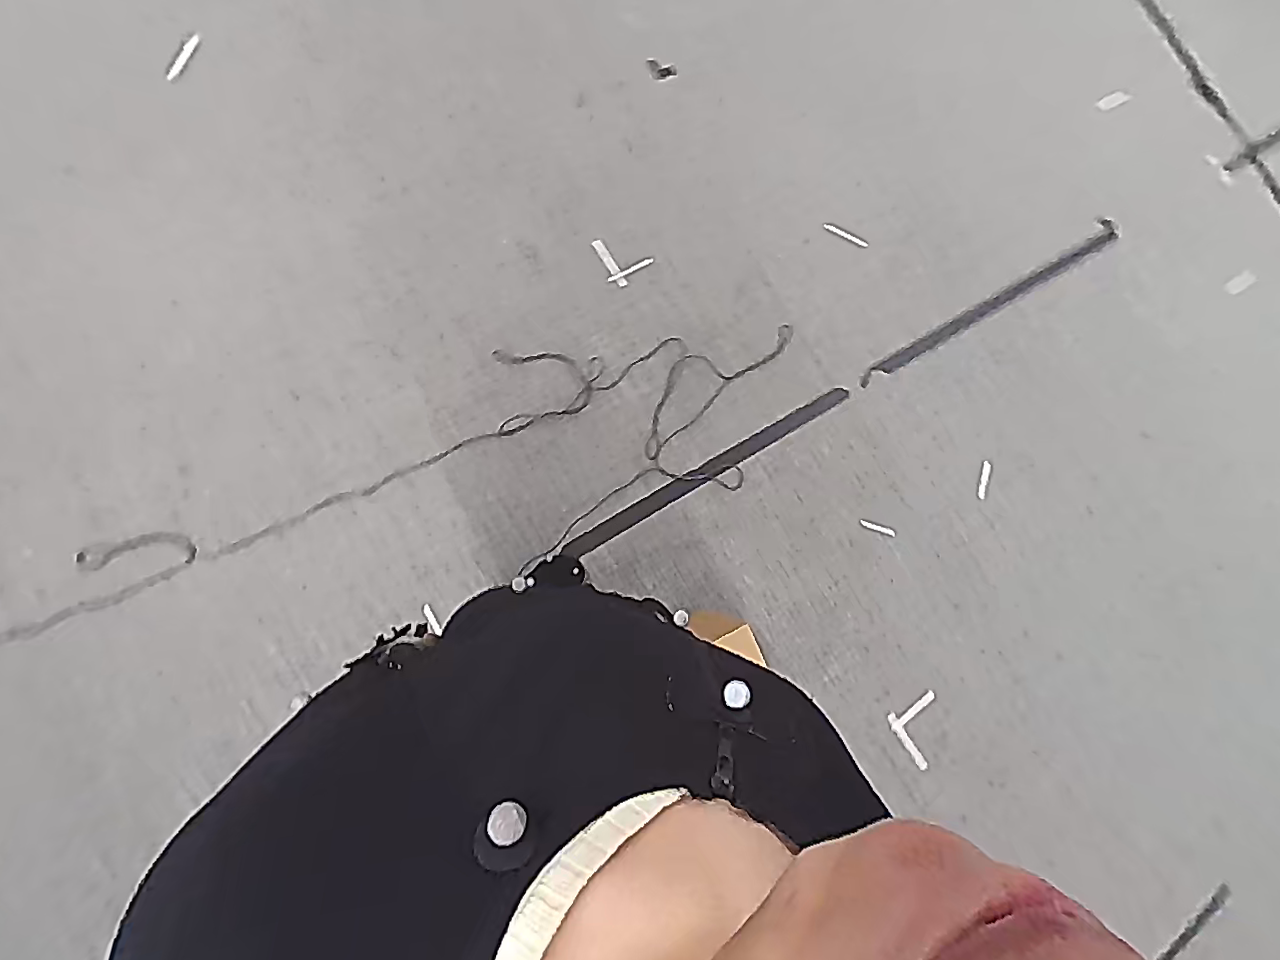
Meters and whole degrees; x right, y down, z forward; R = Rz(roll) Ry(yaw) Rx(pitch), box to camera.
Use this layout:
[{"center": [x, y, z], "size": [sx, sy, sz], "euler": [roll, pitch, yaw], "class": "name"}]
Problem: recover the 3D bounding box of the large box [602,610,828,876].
[{"center": [0.147, 0.560, 1.247], "size": [0.320, 0.320, 0.408], "euler": [-24, 88, -13], "class": "large box"}]
